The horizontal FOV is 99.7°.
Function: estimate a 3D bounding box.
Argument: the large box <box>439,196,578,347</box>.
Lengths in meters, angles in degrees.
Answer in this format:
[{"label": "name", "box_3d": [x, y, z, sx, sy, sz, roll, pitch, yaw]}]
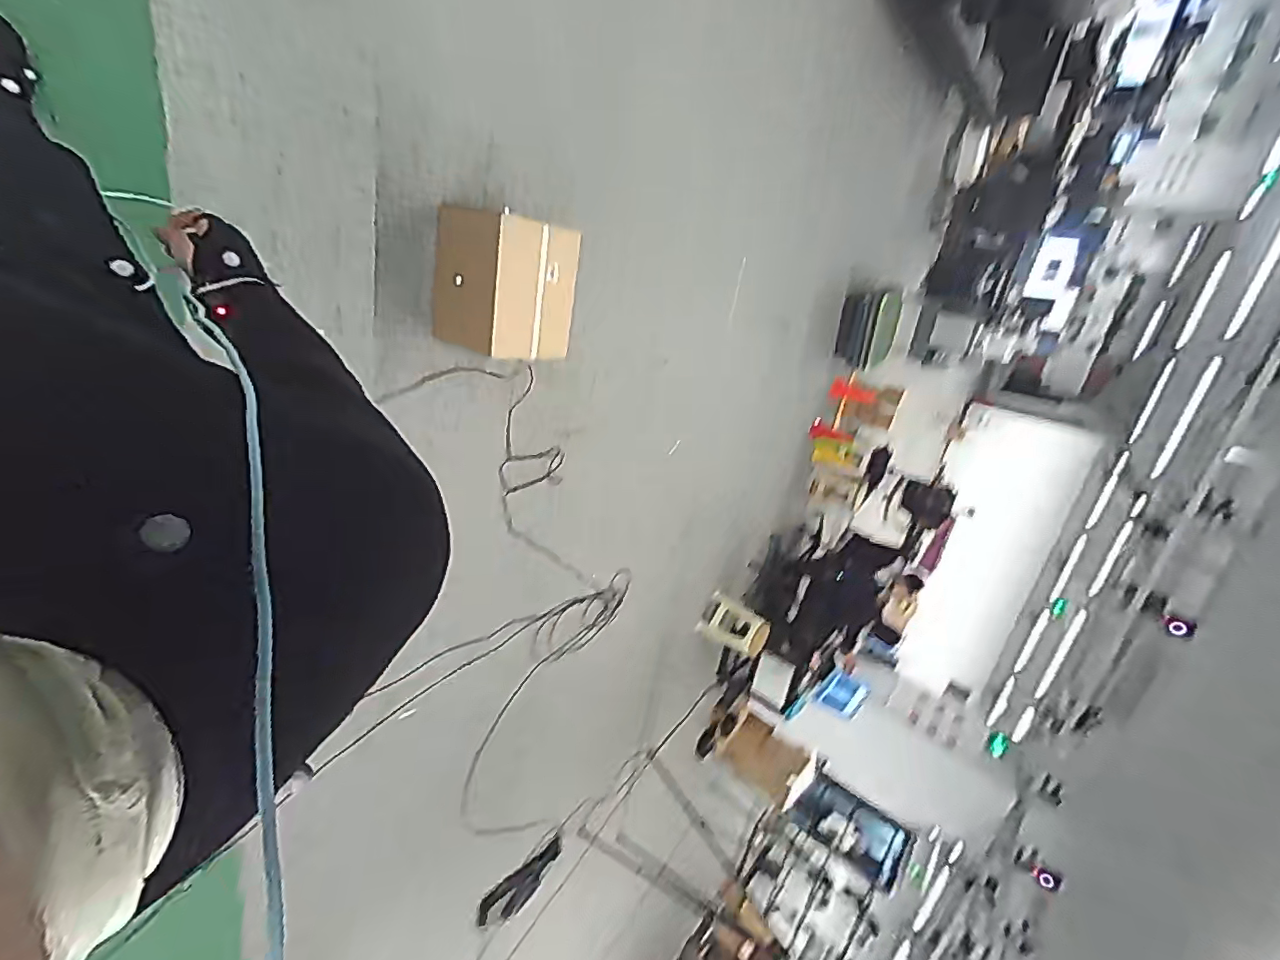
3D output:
[{"label": "large box", "box_3d": [-0.426, -0.656, 1.729, 0.320, 0.320, 0.408, -17, 122, -49]}]
